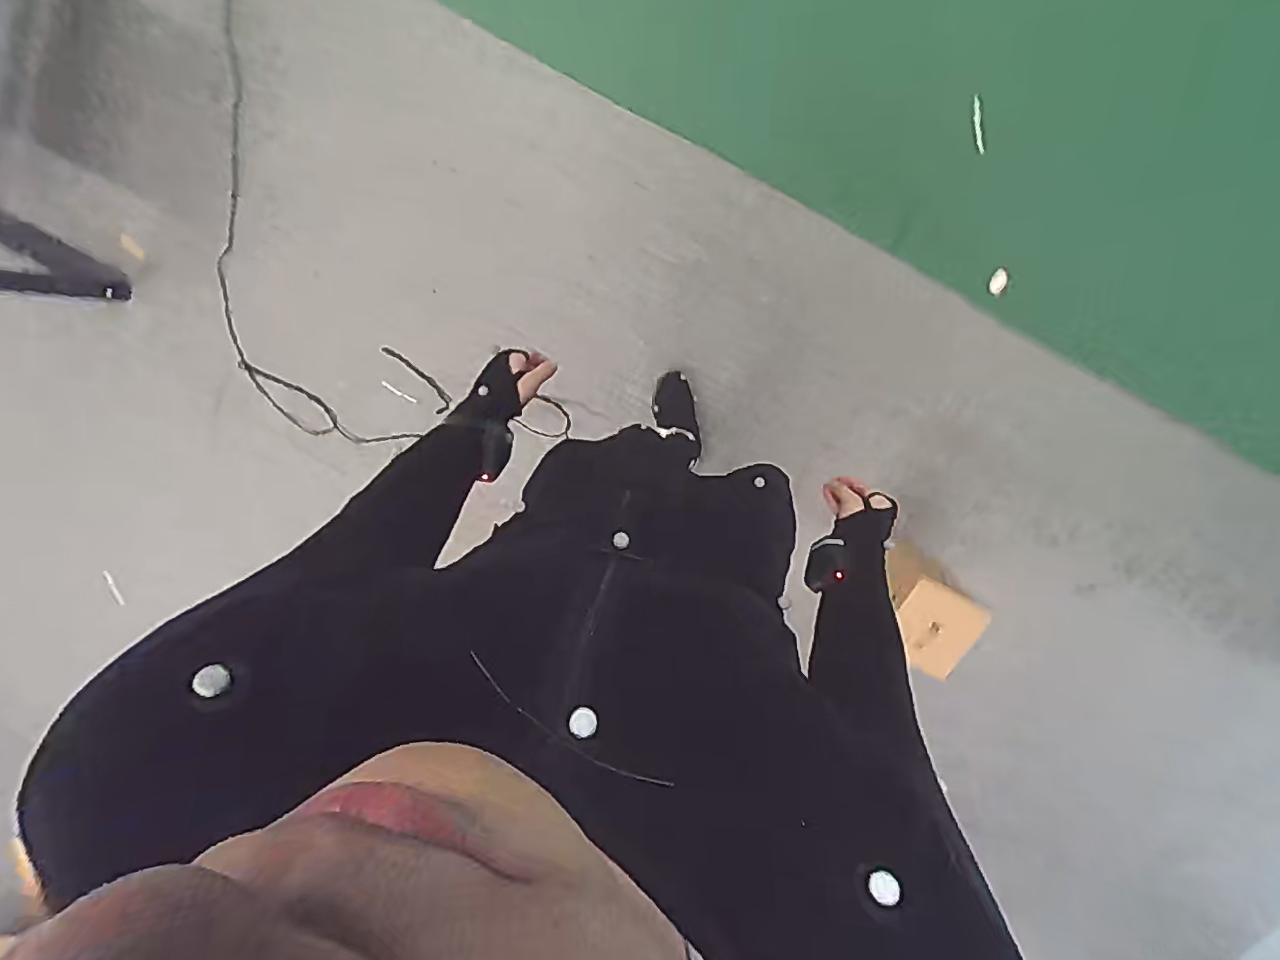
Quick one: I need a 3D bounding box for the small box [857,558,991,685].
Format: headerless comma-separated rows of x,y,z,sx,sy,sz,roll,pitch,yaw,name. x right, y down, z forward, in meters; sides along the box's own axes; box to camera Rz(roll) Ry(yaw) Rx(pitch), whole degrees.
0.602,0.297,1.175,0.168,0.176,0.179,29,104,1,small box

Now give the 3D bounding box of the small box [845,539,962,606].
0.635,0.264,1.333,0.179,0.176,0.168,28,104,0,small box
